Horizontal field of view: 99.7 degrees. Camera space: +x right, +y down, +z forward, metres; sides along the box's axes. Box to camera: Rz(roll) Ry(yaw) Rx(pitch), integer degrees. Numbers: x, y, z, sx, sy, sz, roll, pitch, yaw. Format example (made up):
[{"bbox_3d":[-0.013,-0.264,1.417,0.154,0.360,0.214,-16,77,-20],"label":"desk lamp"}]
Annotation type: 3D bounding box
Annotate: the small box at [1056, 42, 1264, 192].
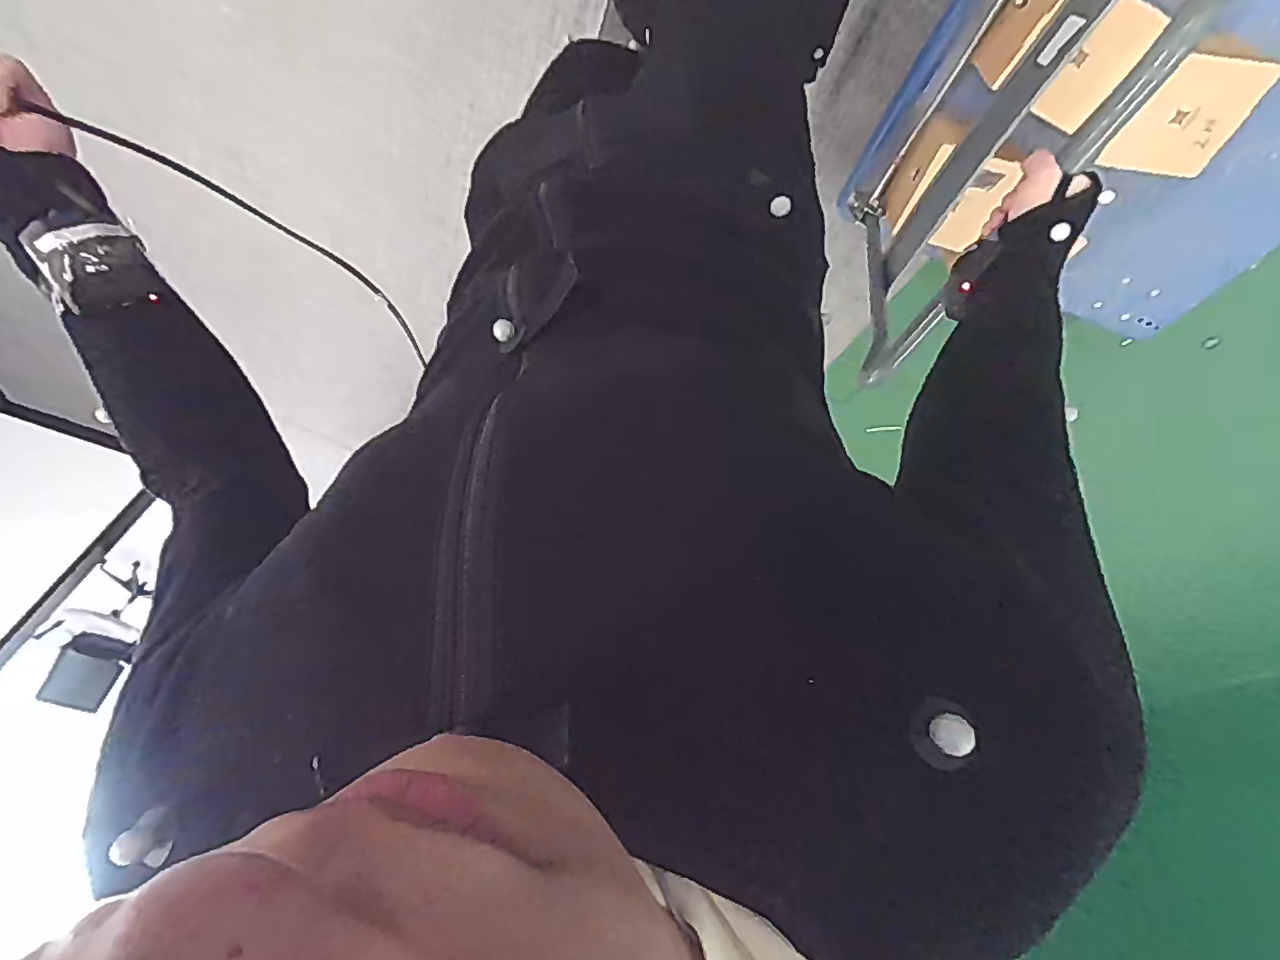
[{"bbox_3d":[0.884,-0.638,0.946,0.179,0.176,0.168,11,142,2],"label":"small box"}]
